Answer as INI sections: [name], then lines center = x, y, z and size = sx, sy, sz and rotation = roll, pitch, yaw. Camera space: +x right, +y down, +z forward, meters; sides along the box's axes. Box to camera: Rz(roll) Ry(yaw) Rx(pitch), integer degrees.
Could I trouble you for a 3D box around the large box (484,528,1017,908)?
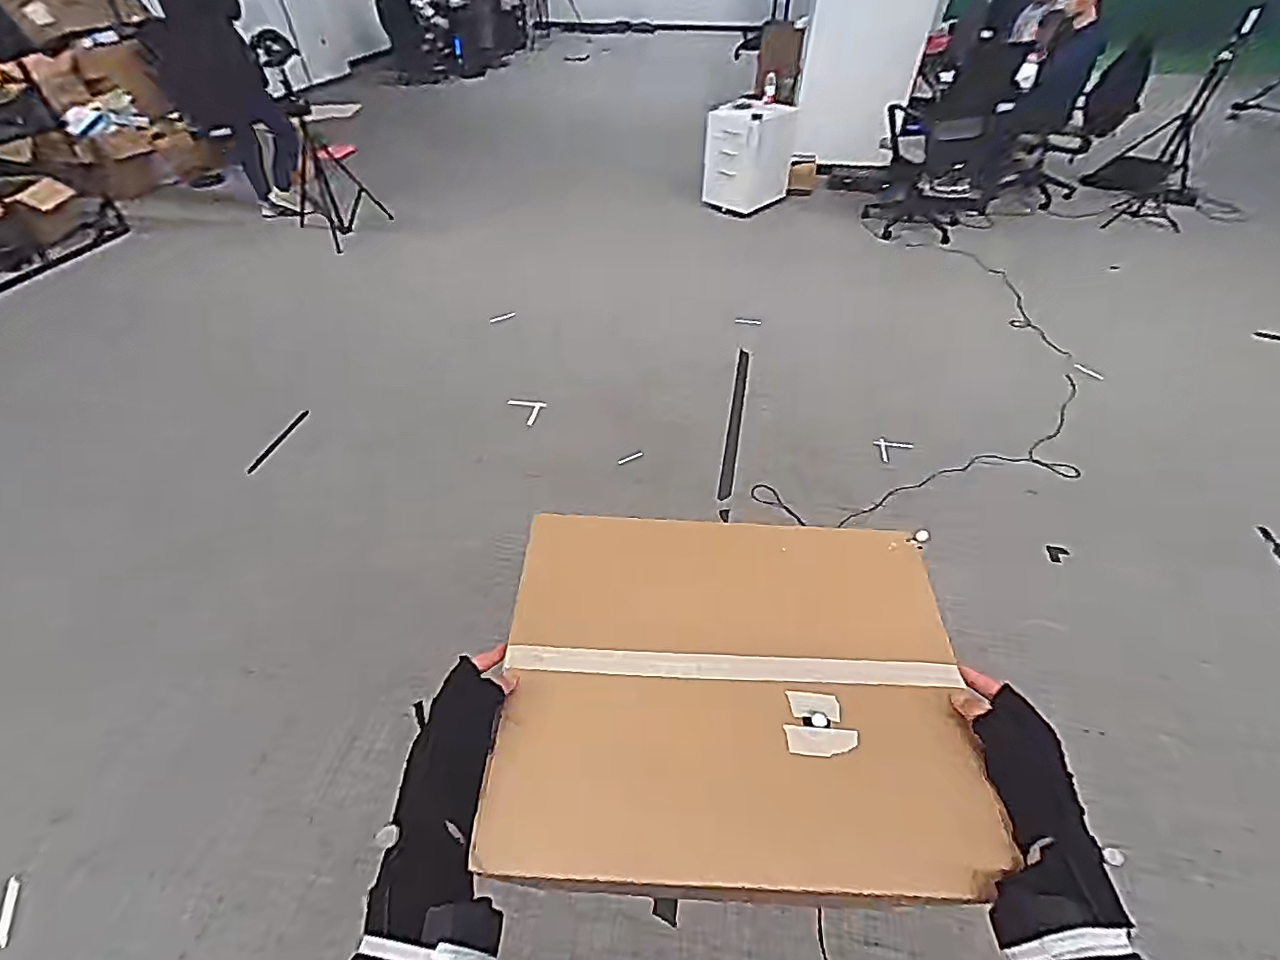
[large box]
center = 0.081, 0.272, 0.604
size = 0.408, 0.320, 0.320
rotation = 3, 52, 0
